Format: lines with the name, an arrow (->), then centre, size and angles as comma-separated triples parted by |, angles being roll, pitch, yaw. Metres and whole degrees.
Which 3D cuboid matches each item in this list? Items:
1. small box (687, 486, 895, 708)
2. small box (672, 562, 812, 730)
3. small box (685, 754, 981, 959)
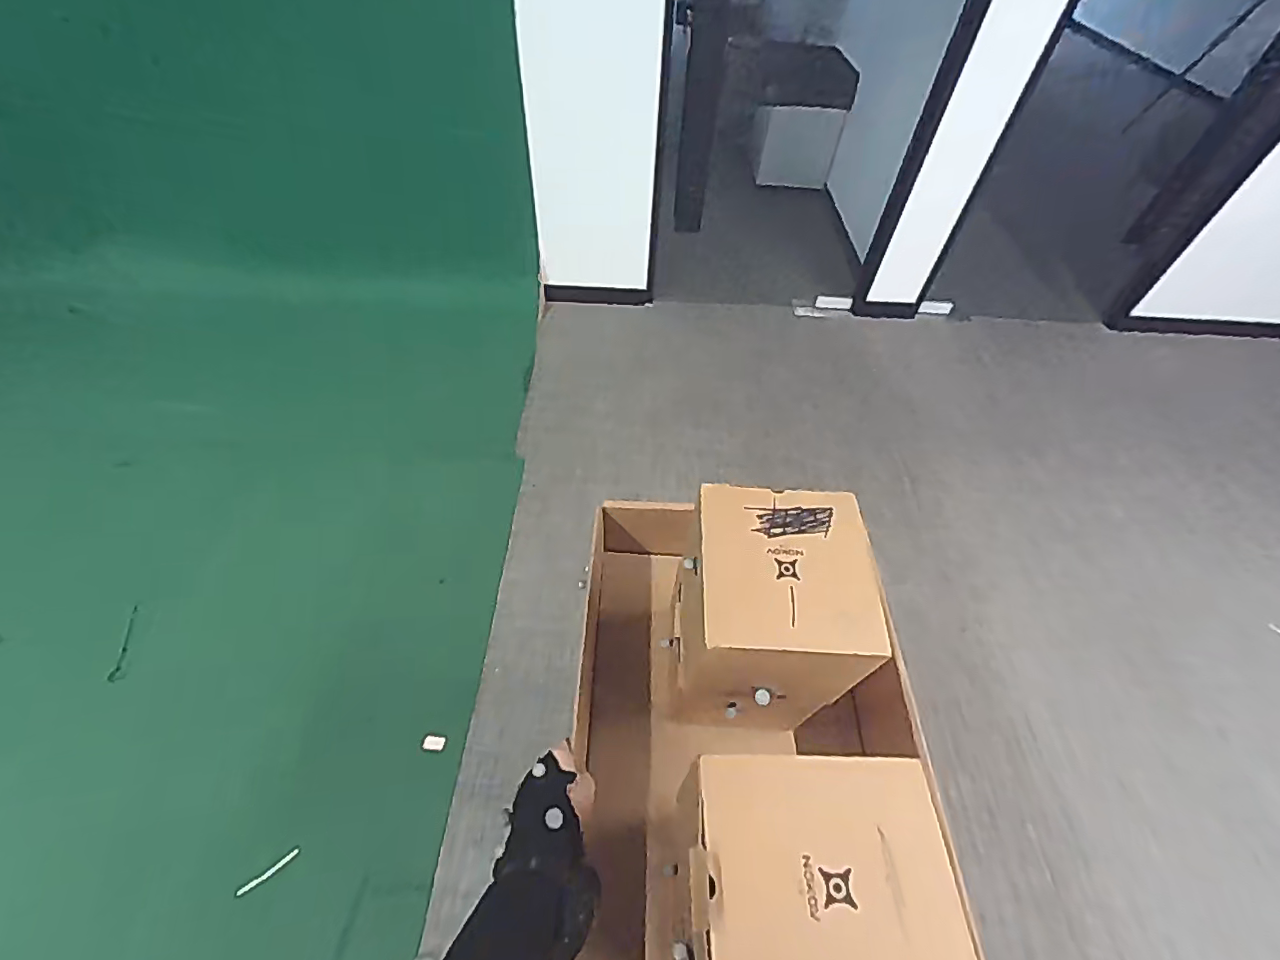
small box -> 0.141, 0.129, 0.582 | 0.168, 0.176, 0.179 | 4, 54, 0
small box -> 0.135, 0.224, 0.716 | 0.179, 0.176, 0.168 | 4, 54, 1
small box -> 0.129, 0.327, 0.429 | 0.179, 0.176, 0.168 | 2, 52, -2
